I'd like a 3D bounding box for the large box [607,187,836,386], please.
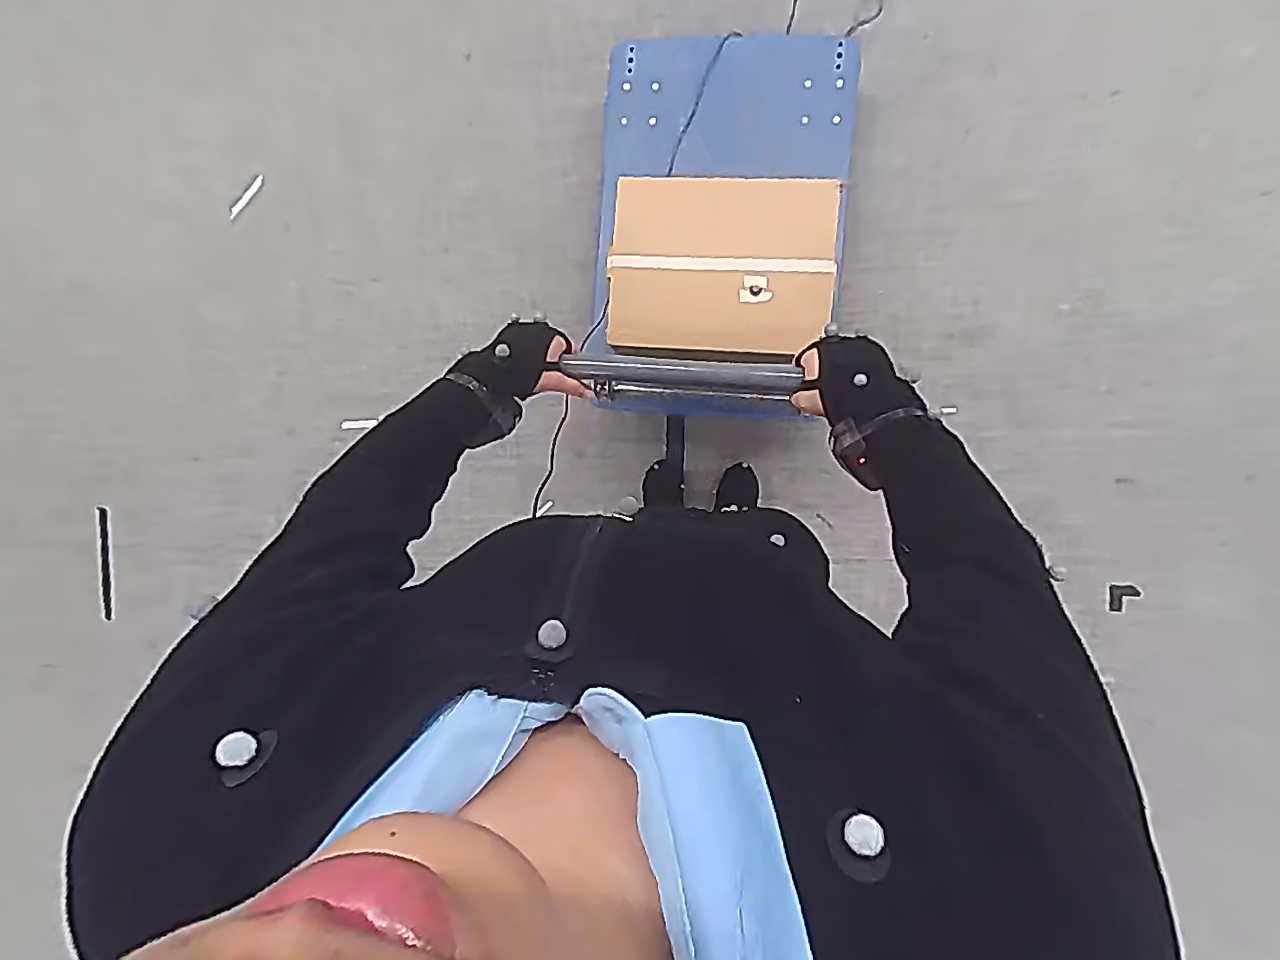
[{"bbox_3d":[0.158,-0.381,1.135,0.408,0.320,0.320,5,93,6],"label":"large box"}]
